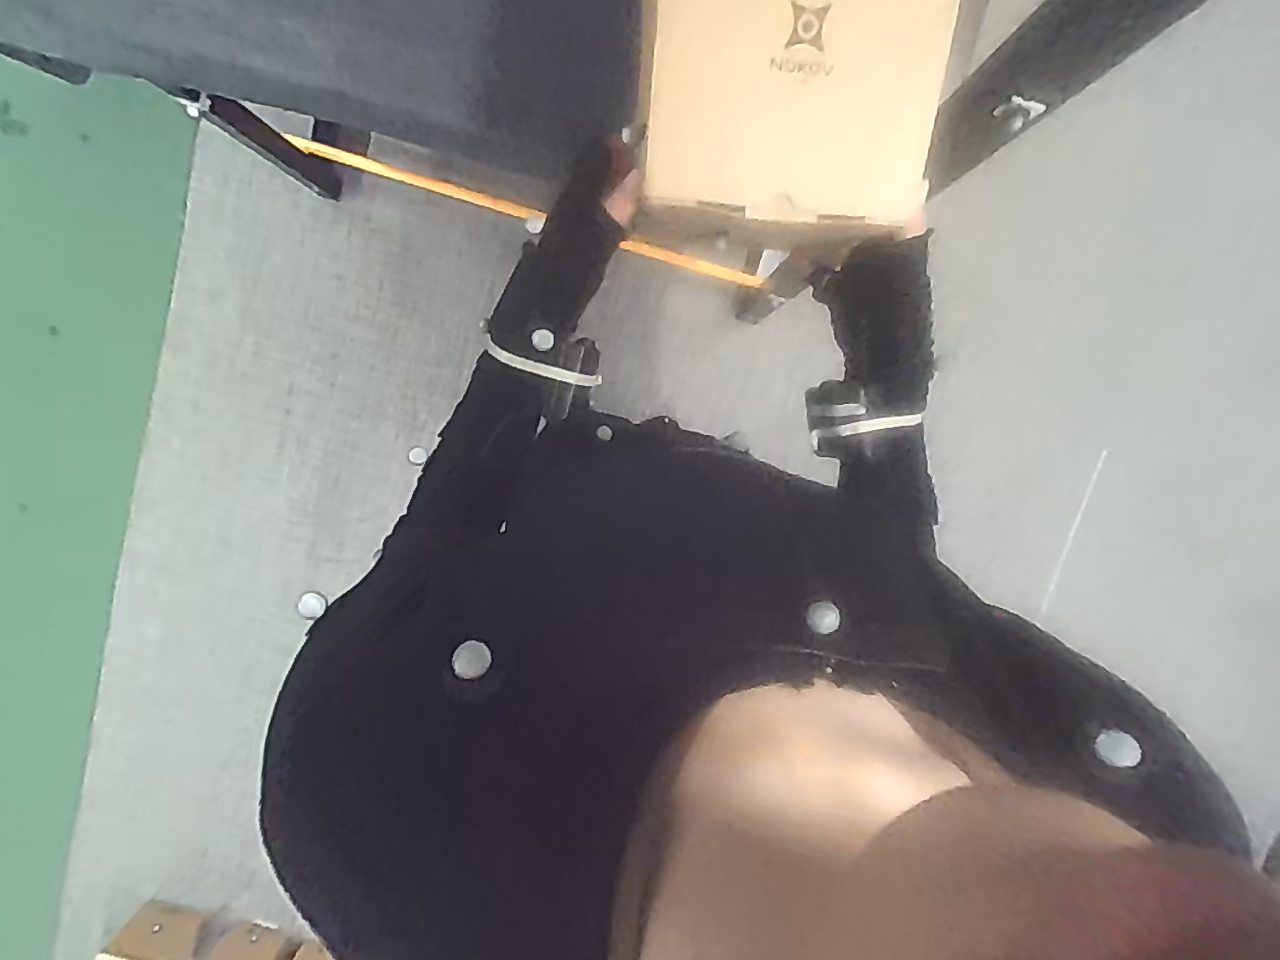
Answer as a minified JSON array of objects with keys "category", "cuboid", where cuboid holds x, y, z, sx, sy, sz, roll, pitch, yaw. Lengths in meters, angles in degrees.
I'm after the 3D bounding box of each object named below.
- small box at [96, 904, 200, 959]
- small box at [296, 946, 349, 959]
[{"category":"small box","cuboid":[-1.425,1.382,1.560,0.168,0.176,0.179,17,97,-1]},{"category":"small box","cuboid":[-0.965,1.522,1.575,0.168,0.176,0.179,16,98,-3]}]
